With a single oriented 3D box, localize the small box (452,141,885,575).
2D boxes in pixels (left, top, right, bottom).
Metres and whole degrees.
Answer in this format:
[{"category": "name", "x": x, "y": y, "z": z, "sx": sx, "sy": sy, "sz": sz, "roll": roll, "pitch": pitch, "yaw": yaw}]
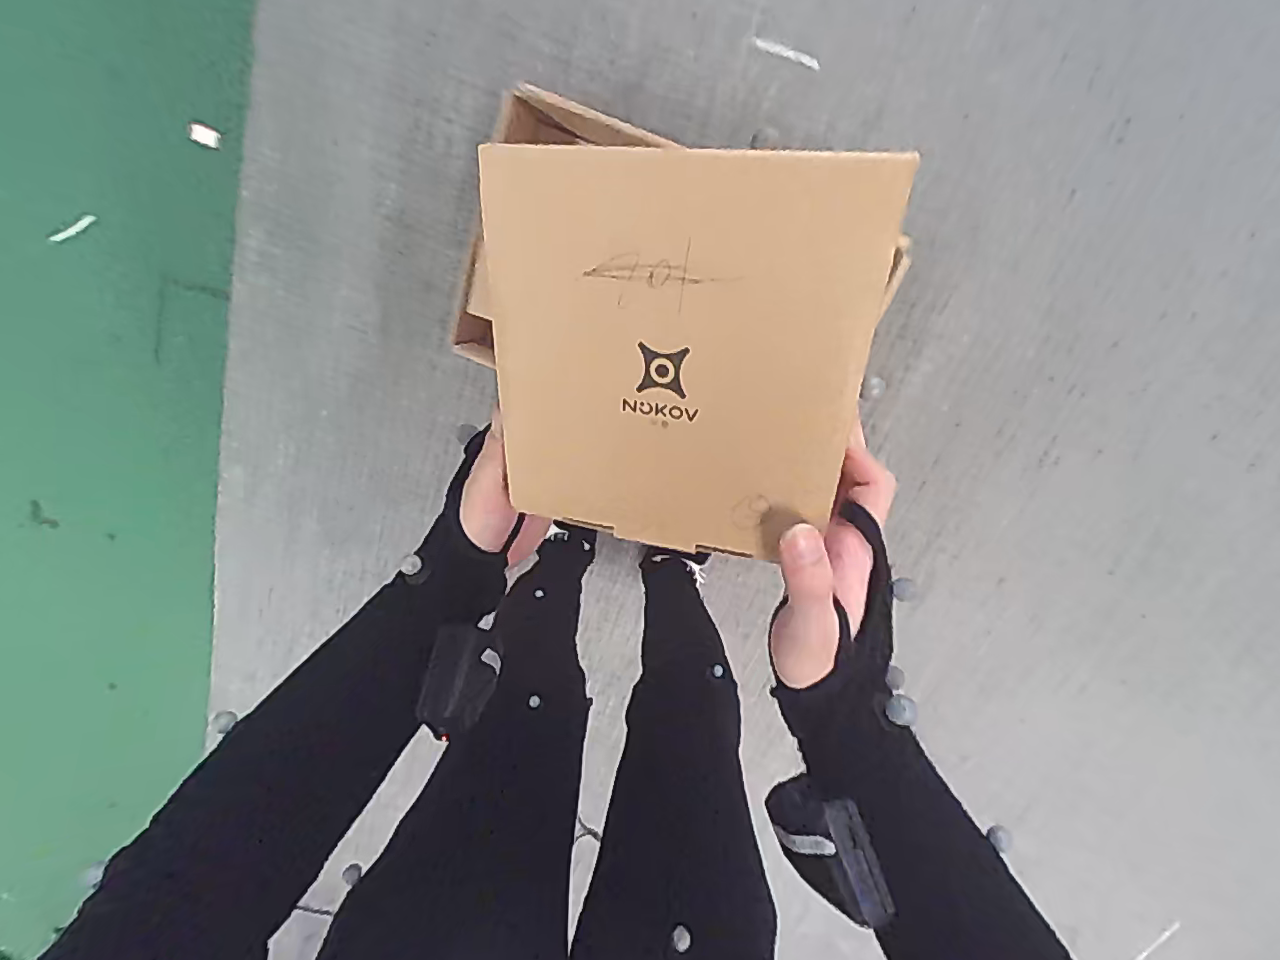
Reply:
[{"category": "small box", "x": 0.024, "y": -0.080, "z": 0.301, "sx": 0.168, "sy": 0.176, "sz": 0.179, "roll": 10, "pitch": 120, "yaw": 14}]
